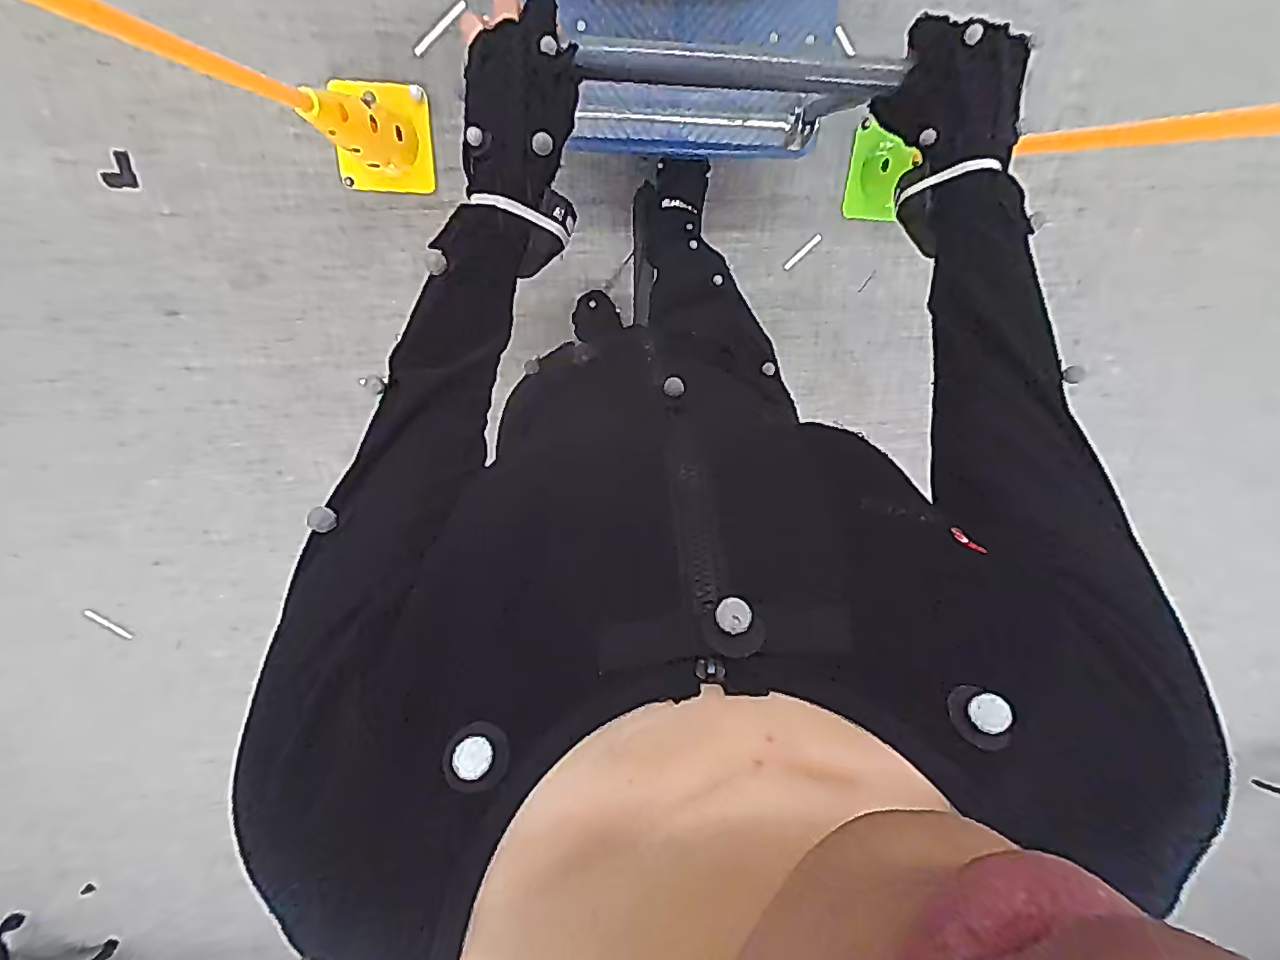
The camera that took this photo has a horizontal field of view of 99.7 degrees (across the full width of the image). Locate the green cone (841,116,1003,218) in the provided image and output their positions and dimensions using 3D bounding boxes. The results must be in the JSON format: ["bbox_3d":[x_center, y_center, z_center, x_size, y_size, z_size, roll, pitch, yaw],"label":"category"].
[{"bbox_3d":[0.592,-0.652,1.100,0.202,0.368,0.200,1,114,-6],"label":"green cone"}]
